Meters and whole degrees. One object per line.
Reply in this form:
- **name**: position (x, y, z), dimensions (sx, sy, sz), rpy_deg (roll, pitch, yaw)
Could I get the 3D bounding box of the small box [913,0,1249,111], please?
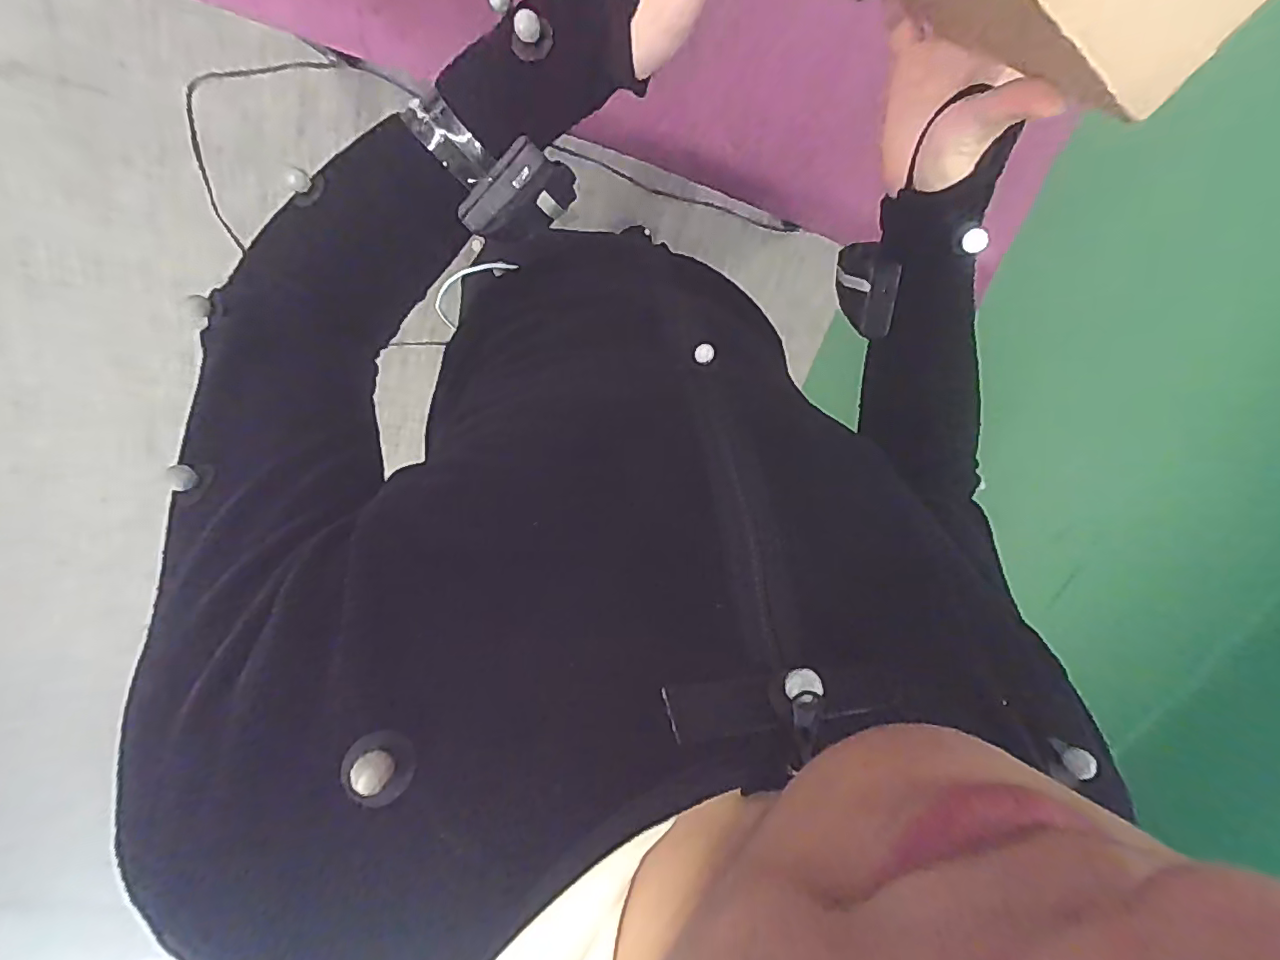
- **small box**: position (0.171, -0.289, 0.198), dimensions (0.179, 0.176, 0.168), rpy_deg (9, 135, -31)
